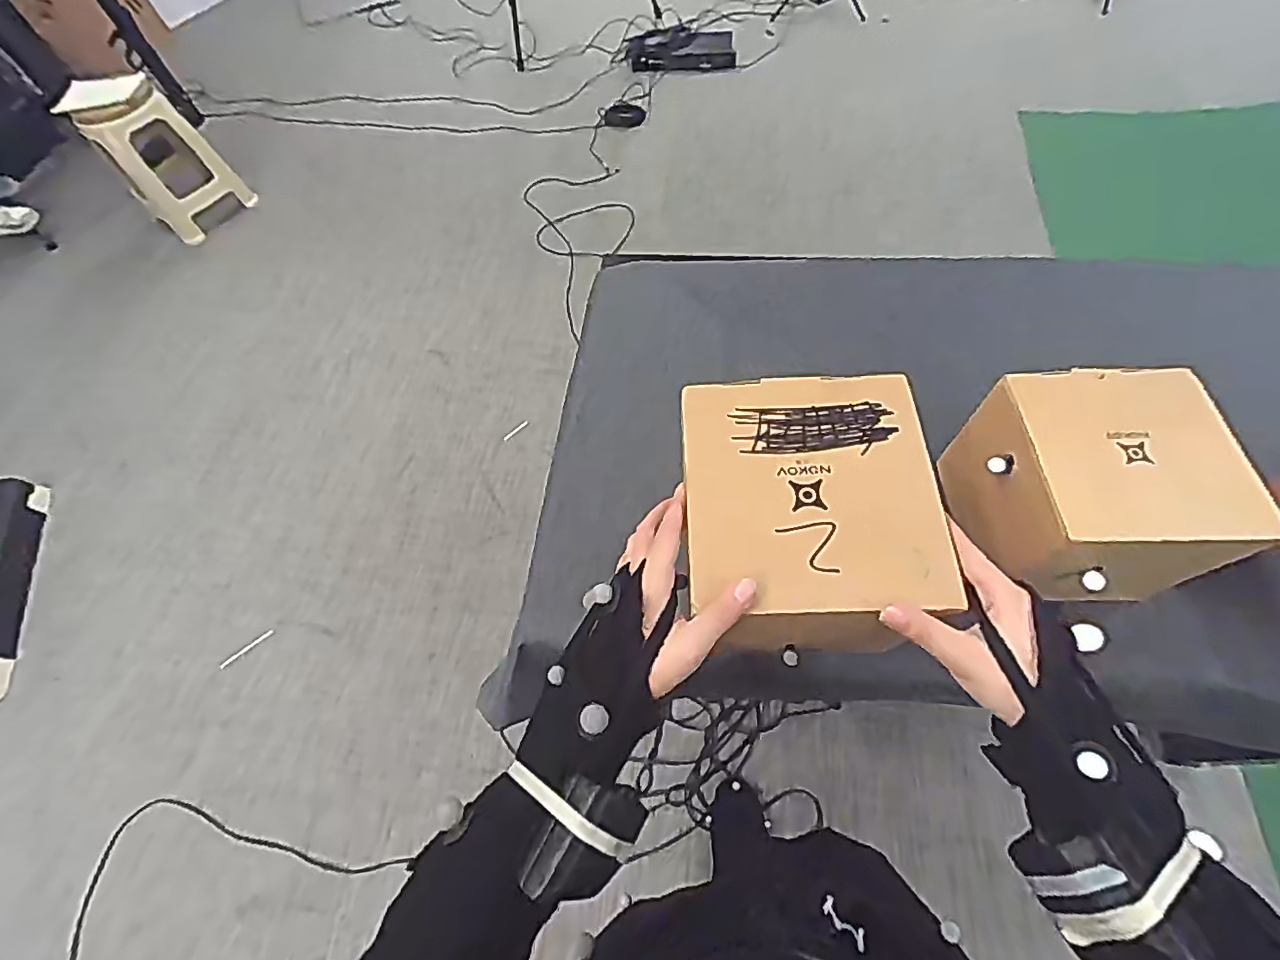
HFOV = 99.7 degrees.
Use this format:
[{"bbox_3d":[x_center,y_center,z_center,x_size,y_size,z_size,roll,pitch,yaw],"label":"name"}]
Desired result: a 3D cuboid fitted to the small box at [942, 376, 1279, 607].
[{"bbox_3d":[0.431,0.020,0.534,0.168,0.176,0.179,-1,59,5],"label":"small box"}]
